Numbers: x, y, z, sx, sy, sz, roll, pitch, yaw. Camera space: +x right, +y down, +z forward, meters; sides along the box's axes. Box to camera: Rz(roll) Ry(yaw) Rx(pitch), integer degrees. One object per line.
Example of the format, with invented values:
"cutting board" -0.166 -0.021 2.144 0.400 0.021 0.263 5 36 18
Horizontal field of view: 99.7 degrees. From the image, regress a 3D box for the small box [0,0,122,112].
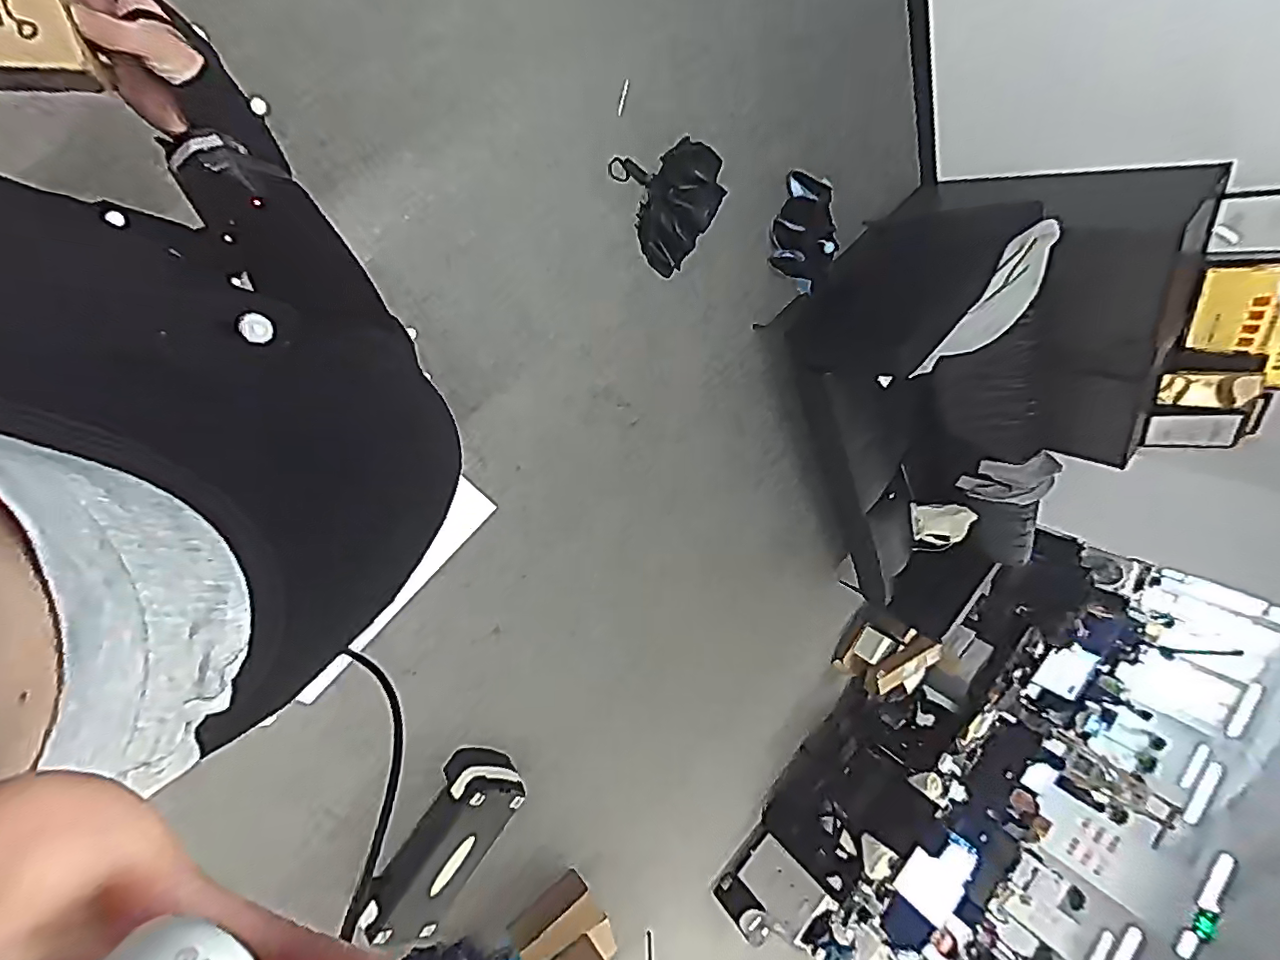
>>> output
"small box" -0.463 -0.333 0.325 0.168 0.176 0.179 -23 127 -28
